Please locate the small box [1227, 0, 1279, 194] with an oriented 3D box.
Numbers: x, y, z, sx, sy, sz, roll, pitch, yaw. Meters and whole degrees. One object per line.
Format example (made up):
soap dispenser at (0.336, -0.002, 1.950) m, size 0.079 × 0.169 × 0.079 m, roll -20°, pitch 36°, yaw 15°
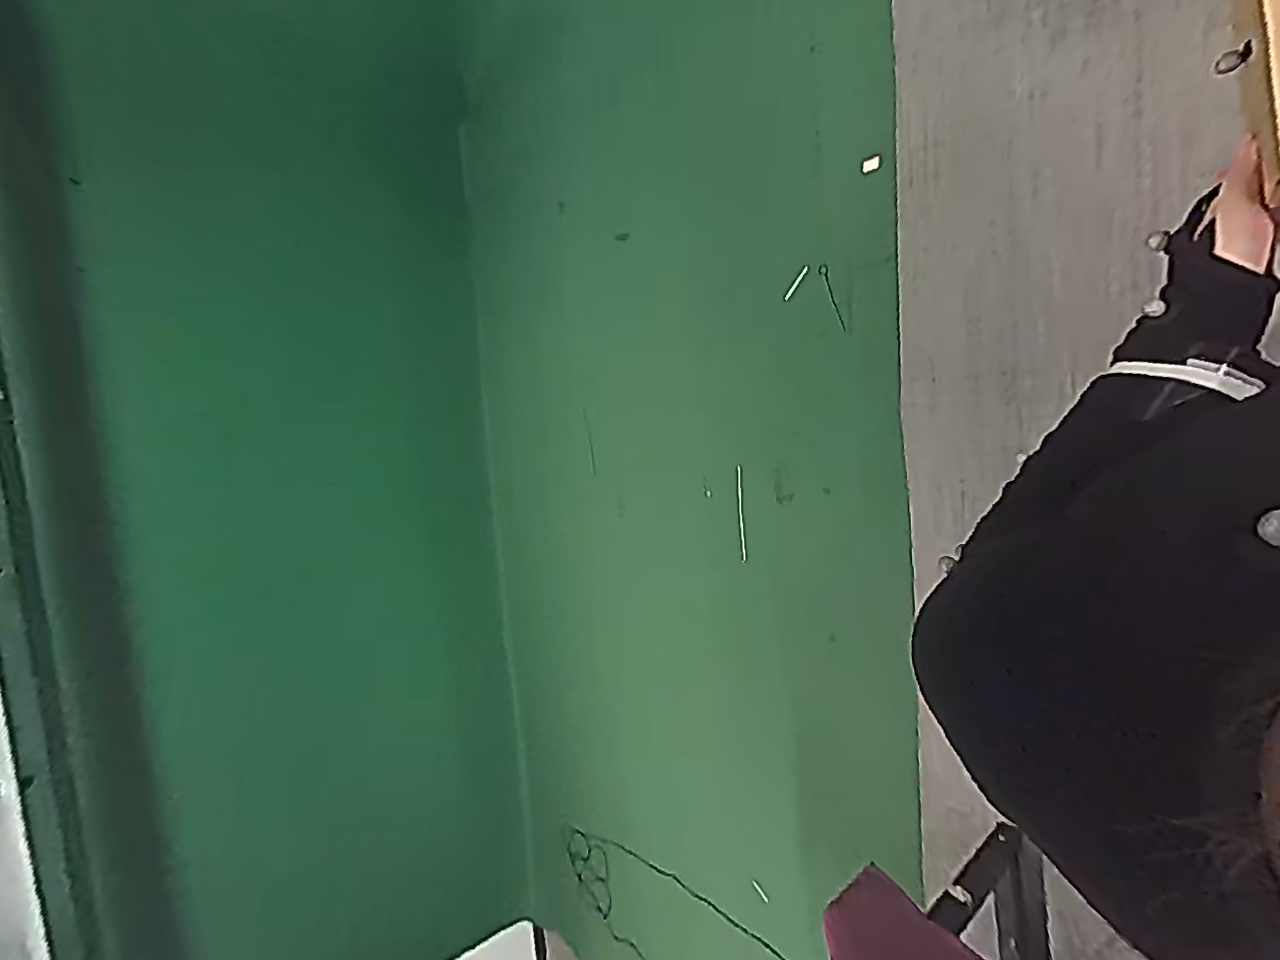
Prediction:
small box at (0.446, -0.280, 0.291) m, size 0.168 × 0.176 × 0.179 m, roll -6°, pitch 93°, yaw 46°
